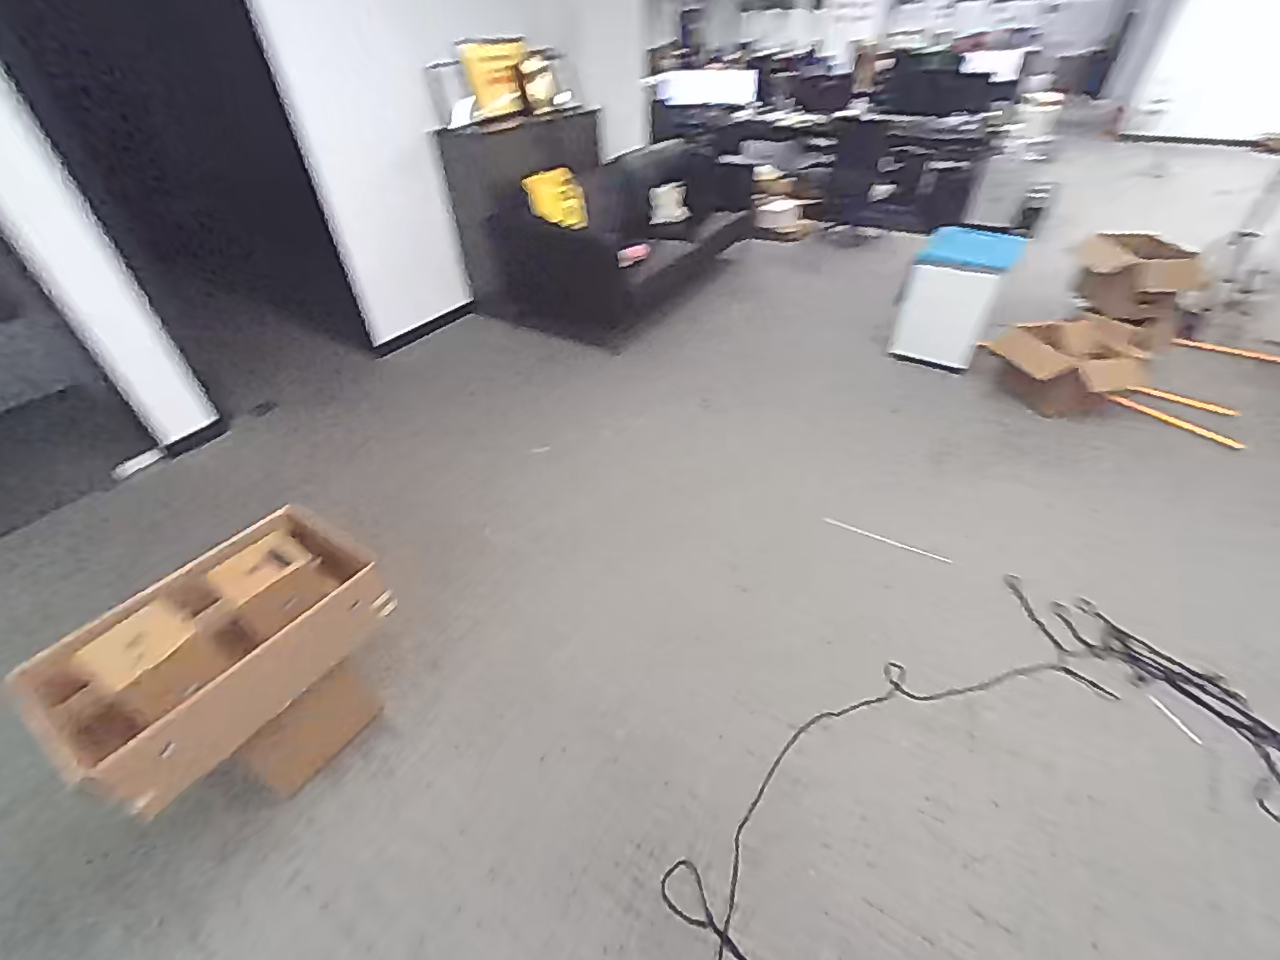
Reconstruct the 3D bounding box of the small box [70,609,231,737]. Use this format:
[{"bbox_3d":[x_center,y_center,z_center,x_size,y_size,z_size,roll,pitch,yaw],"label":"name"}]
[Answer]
[{"bbox_3d":[-1.044,0.418,1.166,0.179,0.176,0.168,19,43,23],"label":"small box"}]
